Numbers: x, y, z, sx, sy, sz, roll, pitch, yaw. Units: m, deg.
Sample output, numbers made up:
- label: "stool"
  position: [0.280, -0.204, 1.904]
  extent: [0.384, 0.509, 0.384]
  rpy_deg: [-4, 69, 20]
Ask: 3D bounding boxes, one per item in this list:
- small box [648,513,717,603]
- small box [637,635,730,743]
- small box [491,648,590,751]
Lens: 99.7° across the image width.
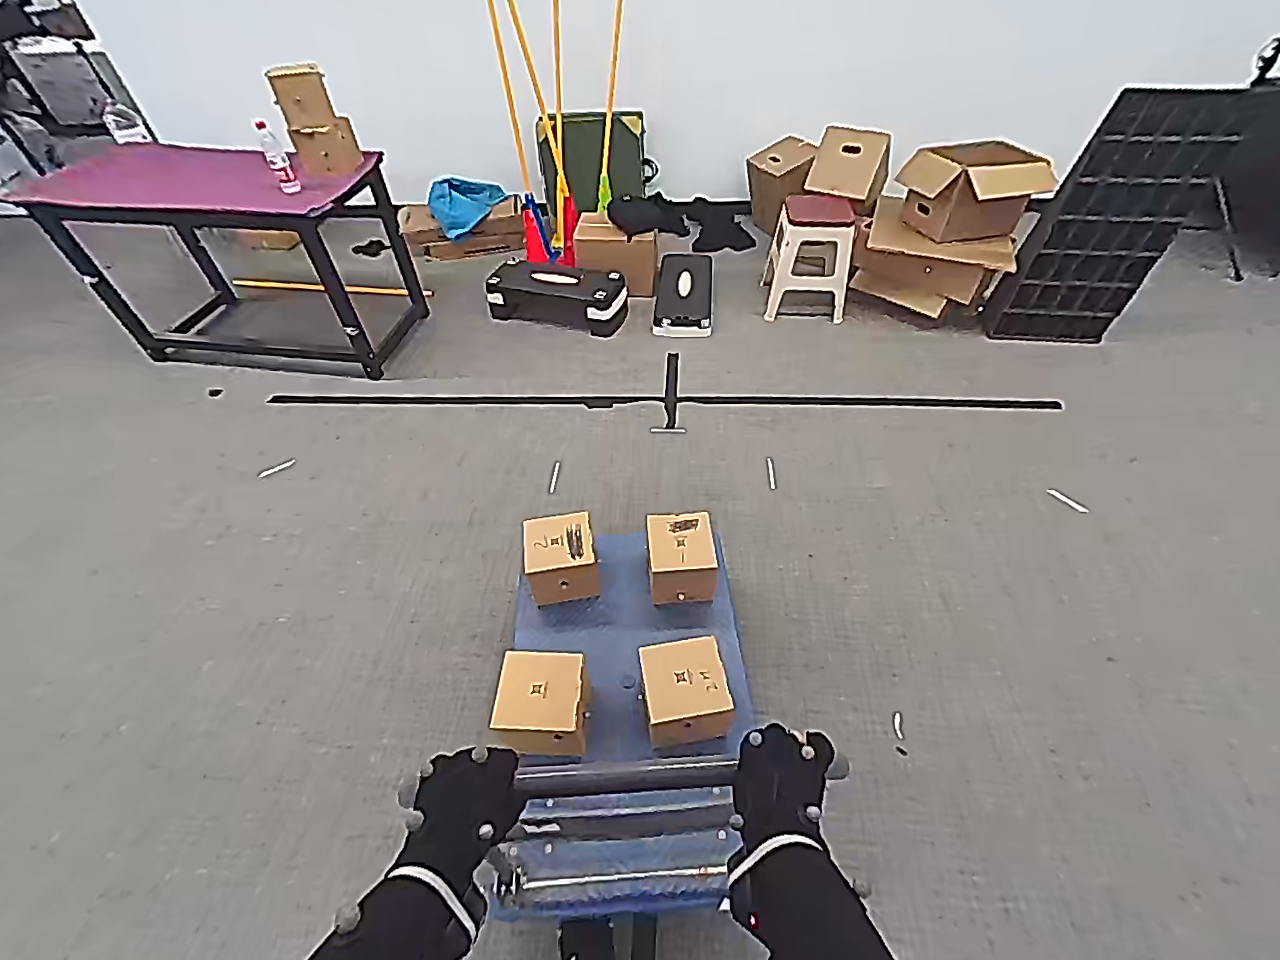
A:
- label: "small box"
  position: [0.107, 0.209, 1.445]
  extent: [0.168, 0.176, 0.179]
  rpy_deg: [-3, 49, -1]
- label: "small box"
  position: [0.094, 0.471, 1.211]
  extent: [0.179, 0.176, 0.168]
  rpy_deg: [-7, 48, -5]
- label: "small box"
  position: [-0.213, 0.491, 1.204]
  extent: [0.179, 0.176, 0.168]
  rpy_deg: [2, 48, 2]
